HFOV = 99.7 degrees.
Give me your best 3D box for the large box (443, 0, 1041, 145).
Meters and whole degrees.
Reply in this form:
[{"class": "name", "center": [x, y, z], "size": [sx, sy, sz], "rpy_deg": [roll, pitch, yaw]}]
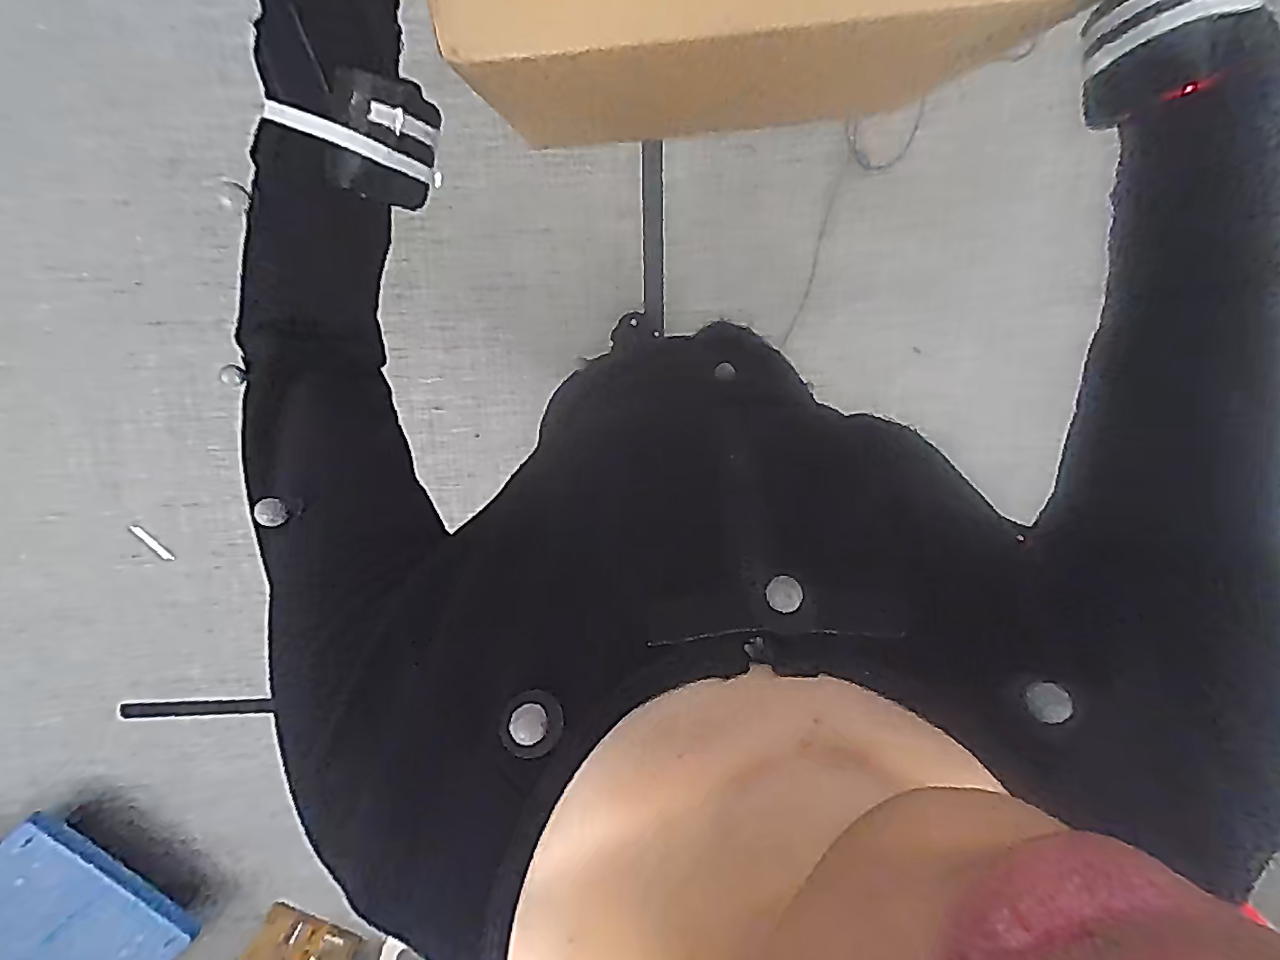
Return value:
[{"class": "large box", "center": [0.061, -0.476, 0.403], "size": [0.408, 0.320, 0.320], "rpy_deg": [-5, 113, 1]}]
